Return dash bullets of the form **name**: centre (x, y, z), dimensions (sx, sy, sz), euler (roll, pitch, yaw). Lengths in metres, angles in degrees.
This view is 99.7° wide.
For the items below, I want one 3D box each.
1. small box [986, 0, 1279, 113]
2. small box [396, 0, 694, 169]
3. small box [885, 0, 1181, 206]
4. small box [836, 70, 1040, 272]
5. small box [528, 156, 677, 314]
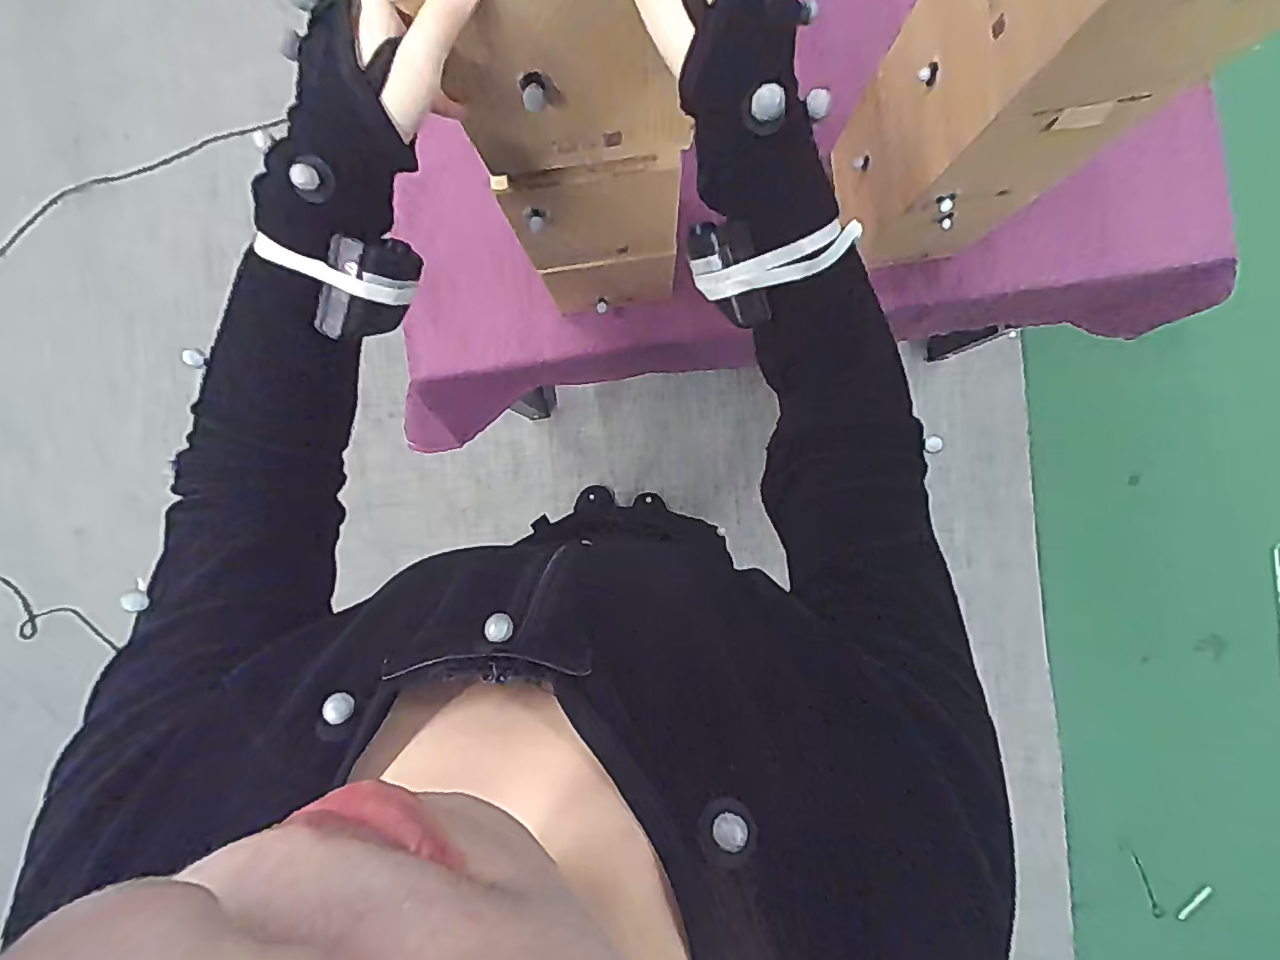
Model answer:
- **small box**: centre (0.369, -0.392, 0.374), dimensions (0.179, 0.176, 0.168), euler (-8, 91, 0)
- **small box**: centre (-0.052, -0.339, 0.365), dimensions (0.168, 0.176, 0.179), euler (-6, 88, 4)
- **small box**: centre (0.369, -0.398, 0.539), dimensions (0.168, 0.176, 0.179), euler (-8, 90, 0)
- **small box**: centre (0.369, -0.397, 0.703), dimensions (0.168, 0.176, 0.179), euler (-8, 89, 2)
- **small box**: centre (-0.046, -0.336, 0.710), dimensions (0.168, 0.176, 0.179), euler (-7, 91, 1)
